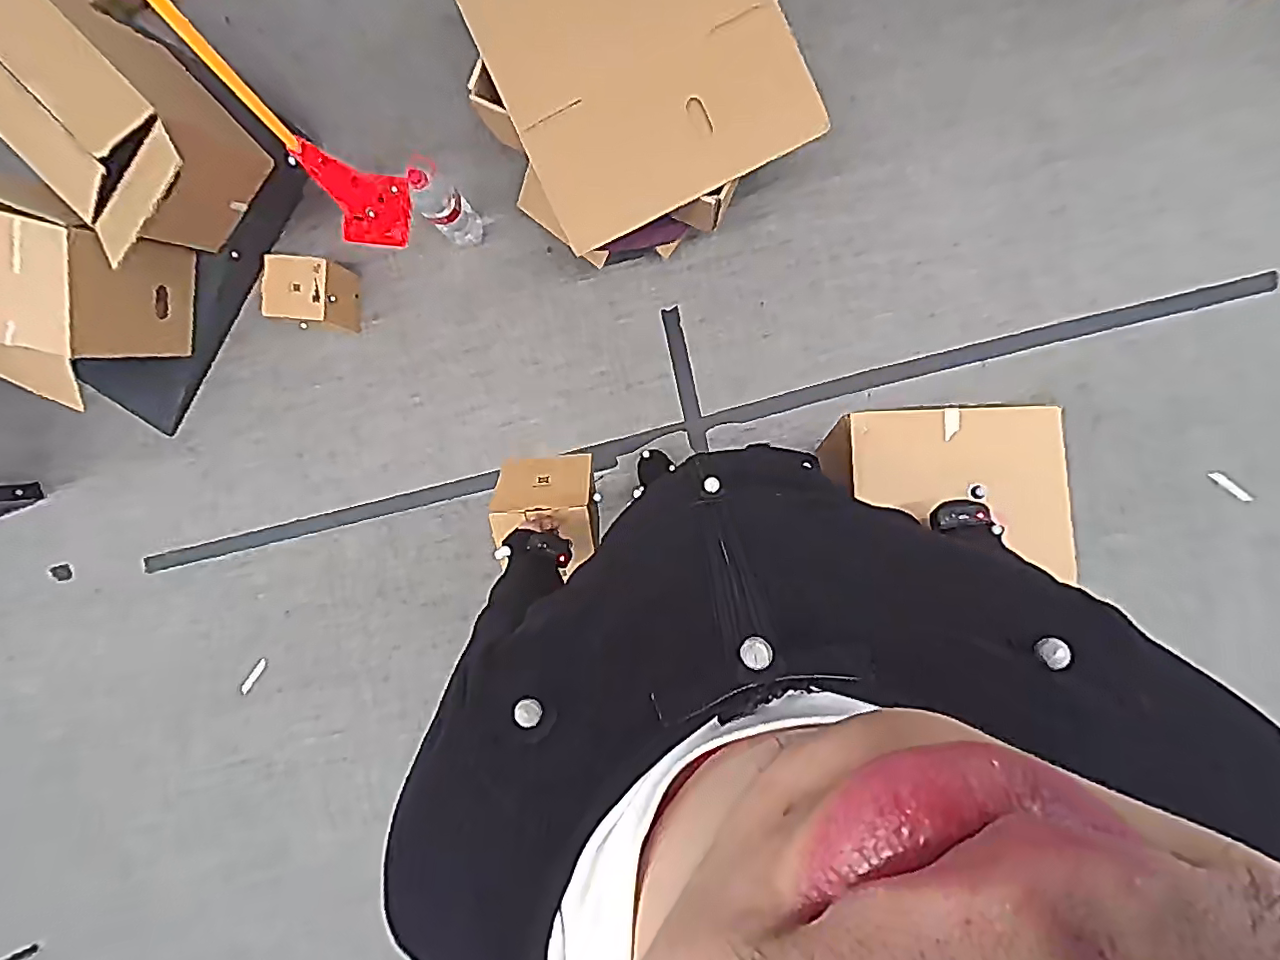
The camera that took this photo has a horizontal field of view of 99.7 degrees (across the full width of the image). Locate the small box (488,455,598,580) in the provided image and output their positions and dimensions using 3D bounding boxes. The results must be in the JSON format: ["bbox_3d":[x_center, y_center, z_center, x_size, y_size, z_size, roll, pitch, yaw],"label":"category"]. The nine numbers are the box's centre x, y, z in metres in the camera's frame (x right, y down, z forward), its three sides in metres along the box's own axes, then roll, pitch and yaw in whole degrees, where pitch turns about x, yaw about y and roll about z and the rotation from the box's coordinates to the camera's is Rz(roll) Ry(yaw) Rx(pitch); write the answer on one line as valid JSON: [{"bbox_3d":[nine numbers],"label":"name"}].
[{"bbox_3d":[-0.168,0.073,1.002,0.168,0.179,0.176,-4,122,-1],"label":"small box"}]
